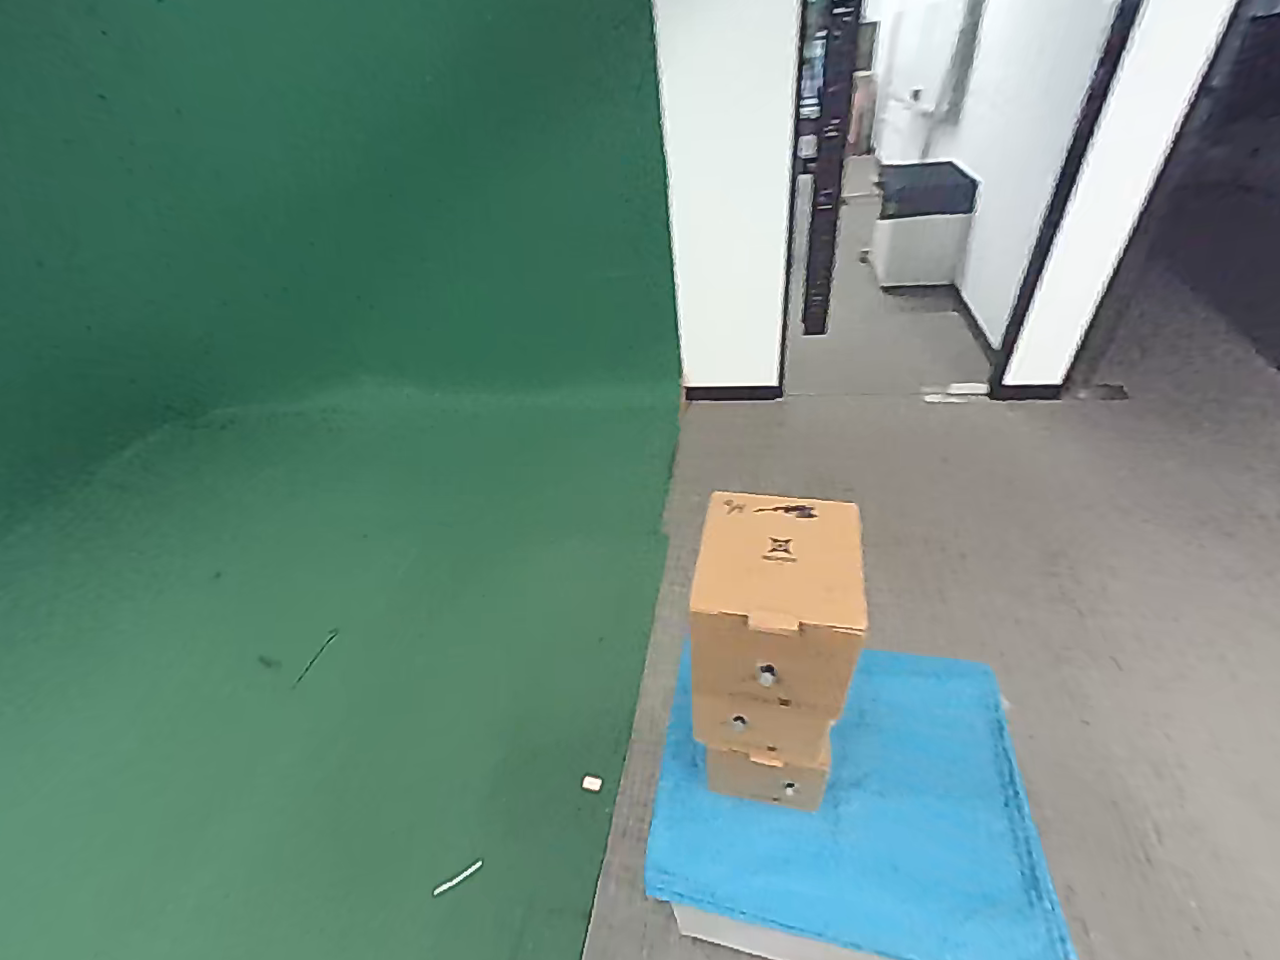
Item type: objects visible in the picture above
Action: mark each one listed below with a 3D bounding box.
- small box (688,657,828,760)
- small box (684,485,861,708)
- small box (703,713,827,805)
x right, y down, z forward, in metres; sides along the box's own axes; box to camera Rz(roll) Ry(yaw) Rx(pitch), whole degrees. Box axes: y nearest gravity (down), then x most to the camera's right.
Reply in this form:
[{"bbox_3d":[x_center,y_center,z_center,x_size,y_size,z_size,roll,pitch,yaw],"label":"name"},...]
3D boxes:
[{"bbox_3d":[0.165,0.246,0.729,0.168,0.176,0.179,6,42,15],"label":"small box"},{"bbox_3d":[0.151,0.130,0.613,0.168,0.176,0.179,6,42,15],"label":"small box"},{"bbox_3d":[0.194,0.368,0.832,0.168,0.176,0.179,5,42,14],"label":"small box"}]
